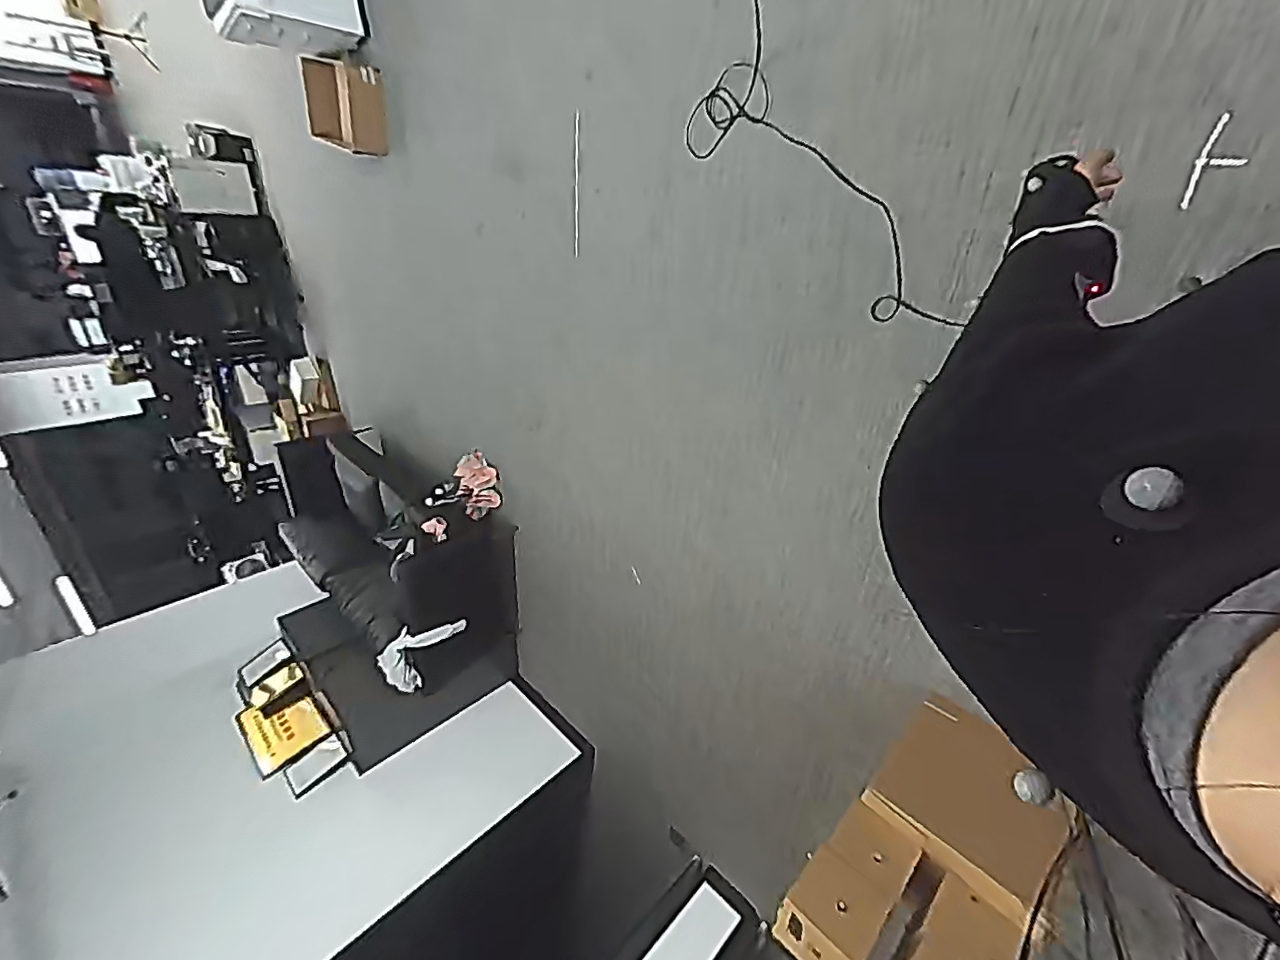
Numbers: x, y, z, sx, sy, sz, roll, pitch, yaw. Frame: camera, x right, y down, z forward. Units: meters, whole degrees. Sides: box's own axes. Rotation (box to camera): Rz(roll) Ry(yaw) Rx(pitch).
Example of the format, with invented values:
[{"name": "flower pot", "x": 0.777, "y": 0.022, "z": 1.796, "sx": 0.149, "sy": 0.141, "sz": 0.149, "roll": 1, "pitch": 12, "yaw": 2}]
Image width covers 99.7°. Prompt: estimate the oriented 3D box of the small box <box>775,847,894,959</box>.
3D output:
[{"name": "small box", "x": 0.438, "y": 0.977, "z": 1.219, "sx": 0.179, "sy": 0.176, "sz": 0.168, "roll": 28, "pitch": 126, "yaw": 35}]
